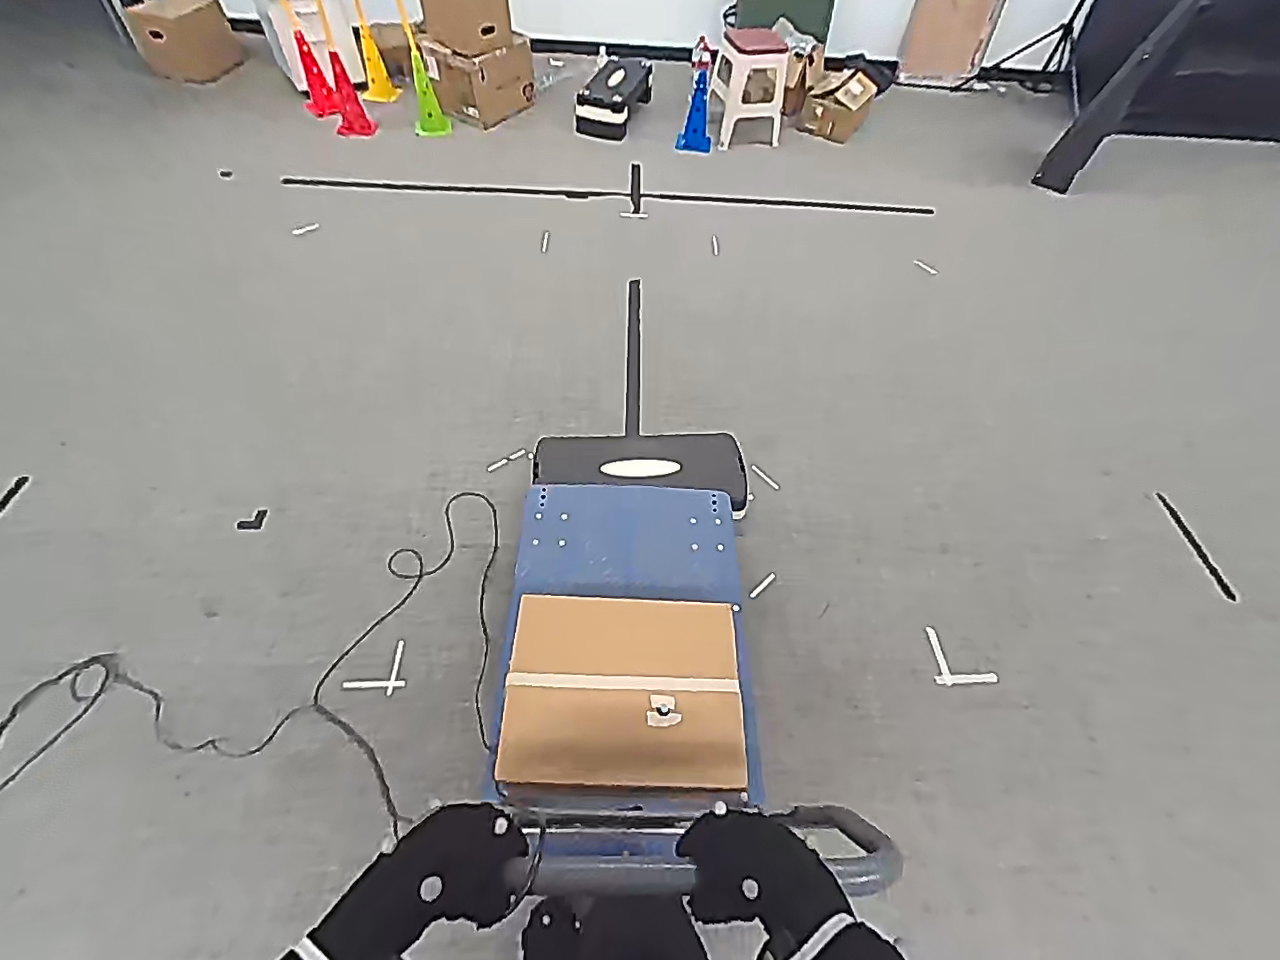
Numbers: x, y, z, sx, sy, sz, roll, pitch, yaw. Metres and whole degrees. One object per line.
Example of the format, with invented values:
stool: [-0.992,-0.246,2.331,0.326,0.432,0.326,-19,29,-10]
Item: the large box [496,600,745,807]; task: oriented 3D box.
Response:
large box: [-0.041,0.447,1.057,0.408,0.320,0.320,4,55,-3]
